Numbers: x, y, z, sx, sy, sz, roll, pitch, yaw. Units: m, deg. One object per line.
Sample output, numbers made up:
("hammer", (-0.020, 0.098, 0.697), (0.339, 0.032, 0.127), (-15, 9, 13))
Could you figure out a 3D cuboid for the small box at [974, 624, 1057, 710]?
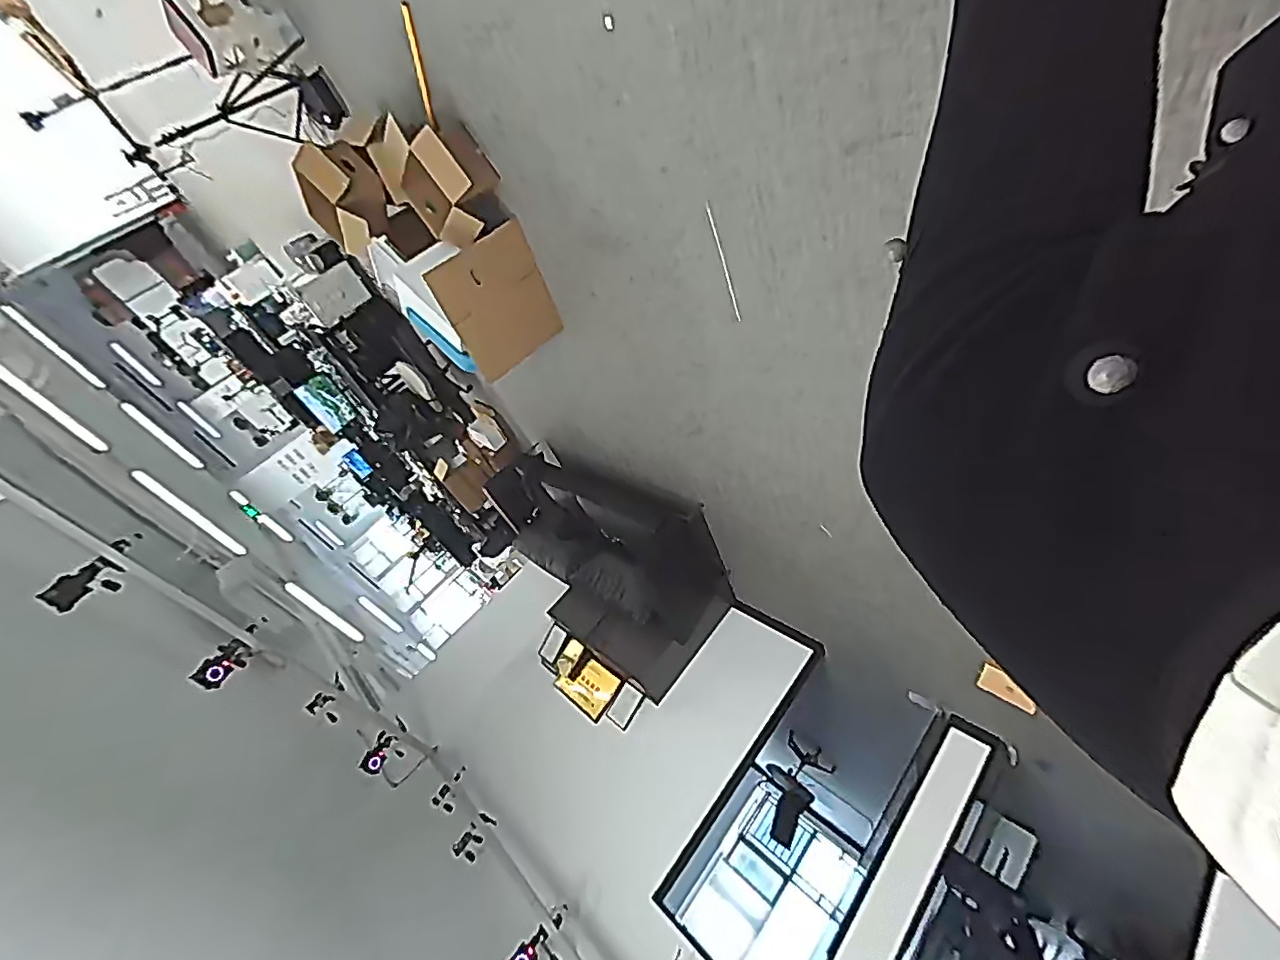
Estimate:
("small box", (1.214, 0.599, 1.748), (0.168, 0.176, 0.179), (25, 151, 37))
